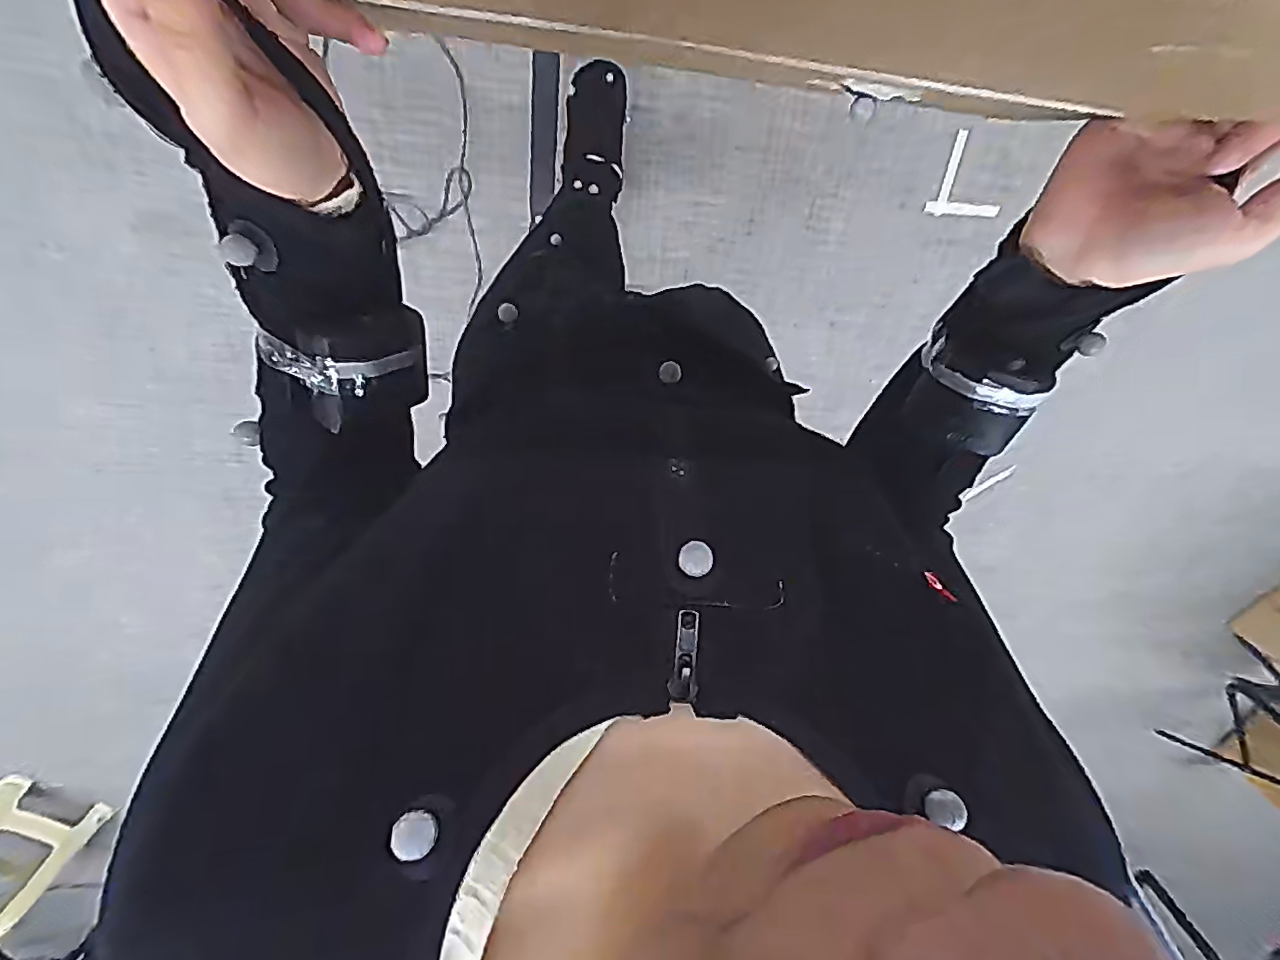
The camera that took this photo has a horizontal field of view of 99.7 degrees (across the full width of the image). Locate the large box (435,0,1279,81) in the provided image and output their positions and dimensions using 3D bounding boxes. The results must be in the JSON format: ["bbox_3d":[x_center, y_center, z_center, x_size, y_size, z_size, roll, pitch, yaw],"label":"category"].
[{"bbox_3d":[0.064,-0.314,0.122,0.408,0.320,0.320,2,124,-7],"label":"large box"}]
